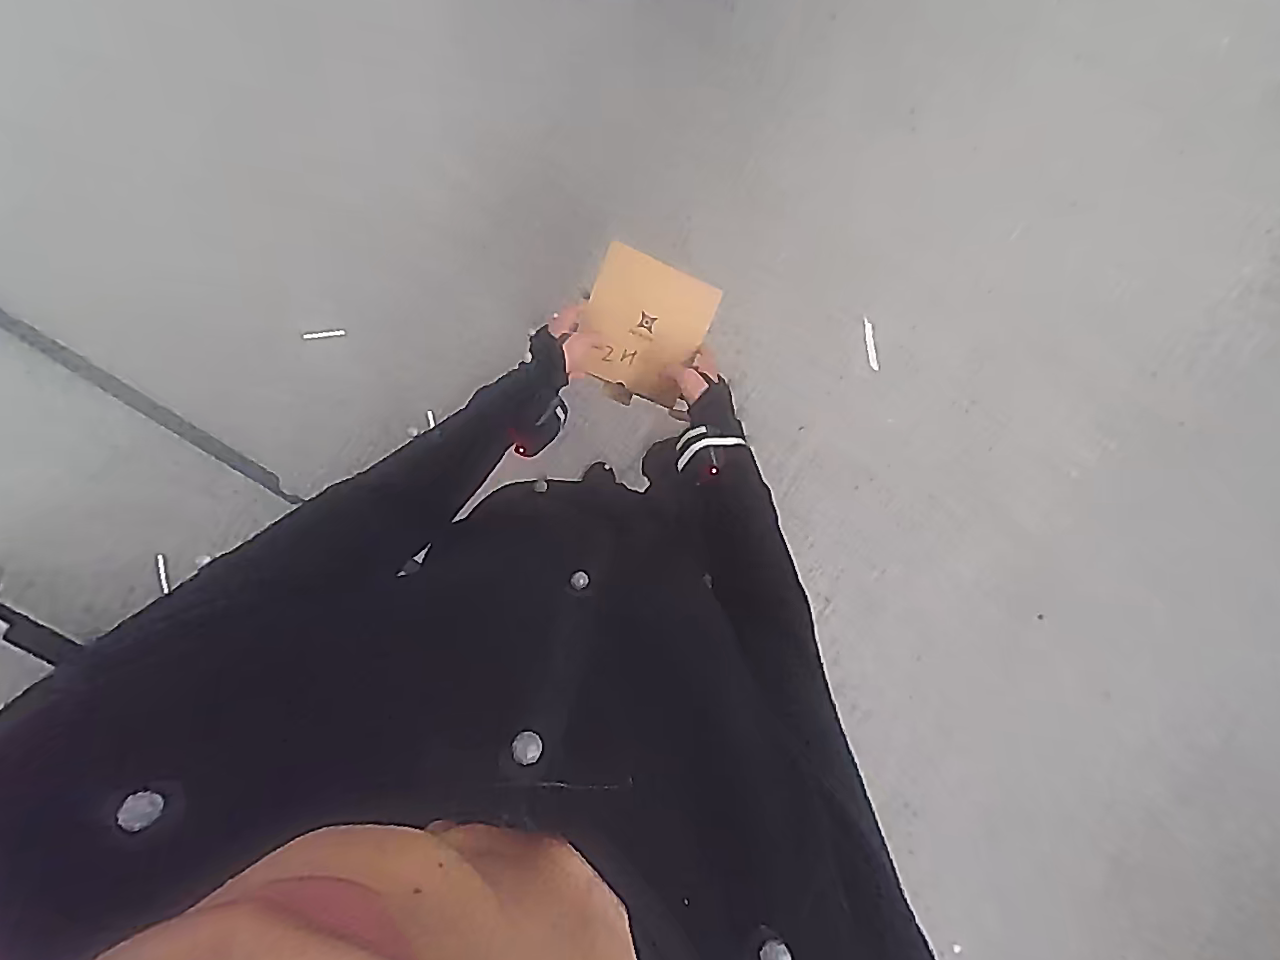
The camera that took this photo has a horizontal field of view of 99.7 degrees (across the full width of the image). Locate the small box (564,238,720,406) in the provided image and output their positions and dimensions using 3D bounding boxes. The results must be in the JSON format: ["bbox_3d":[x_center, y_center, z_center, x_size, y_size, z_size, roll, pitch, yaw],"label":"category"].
[{"bbox_3d":[-0.003,-0.229,0.808,0.168,0.176,0.179,21,103,-8],"label":"small box"}]
